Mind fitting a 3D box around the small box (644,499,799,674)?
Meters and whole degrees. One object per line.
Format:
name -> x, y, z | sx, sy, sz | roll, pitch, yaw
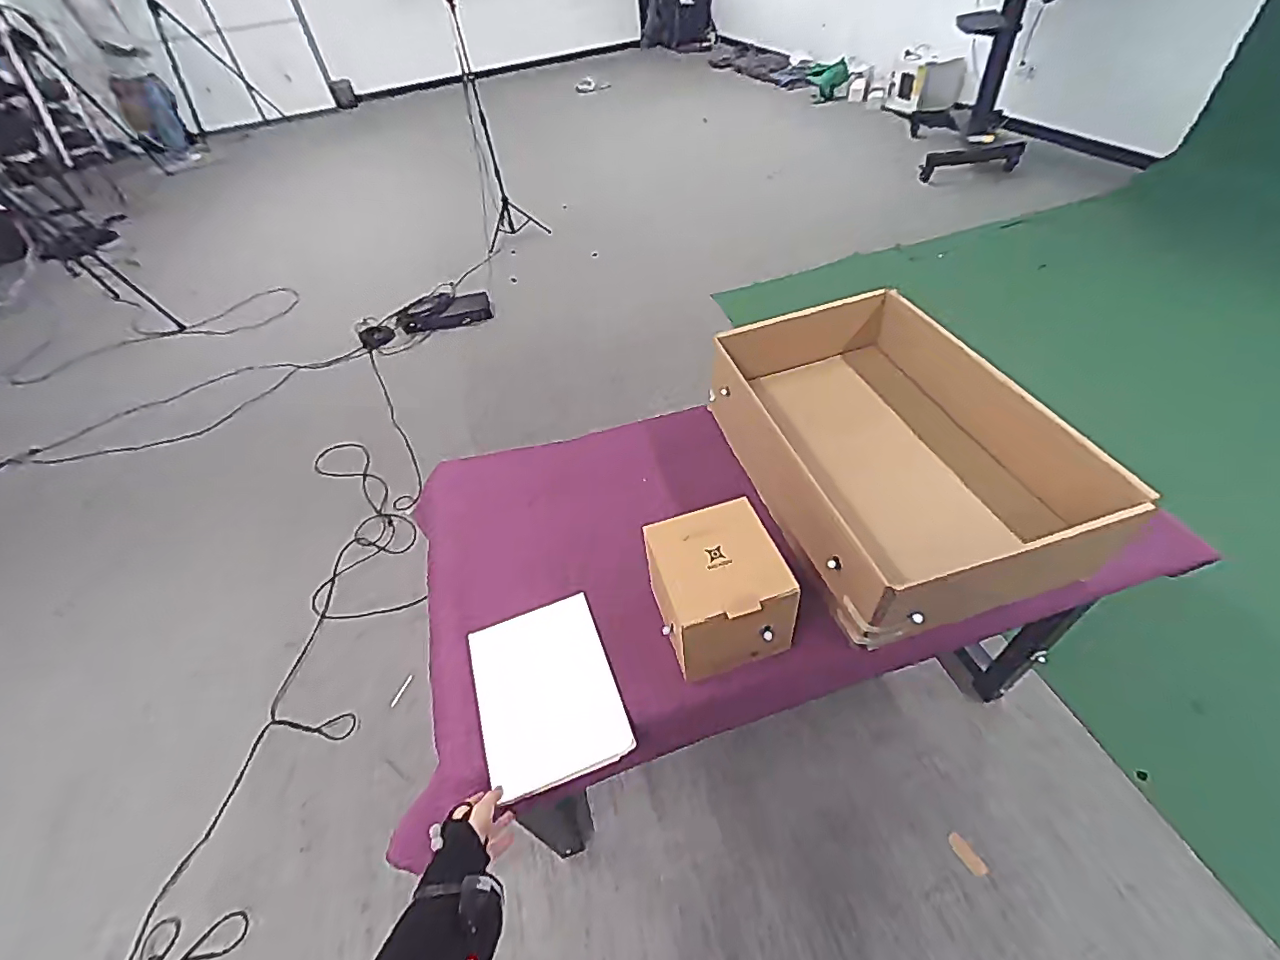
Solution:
small box -> 0.114, 0.163, 0.795 | 0.168, 0.176, 0.179 | -15, 45, -7
